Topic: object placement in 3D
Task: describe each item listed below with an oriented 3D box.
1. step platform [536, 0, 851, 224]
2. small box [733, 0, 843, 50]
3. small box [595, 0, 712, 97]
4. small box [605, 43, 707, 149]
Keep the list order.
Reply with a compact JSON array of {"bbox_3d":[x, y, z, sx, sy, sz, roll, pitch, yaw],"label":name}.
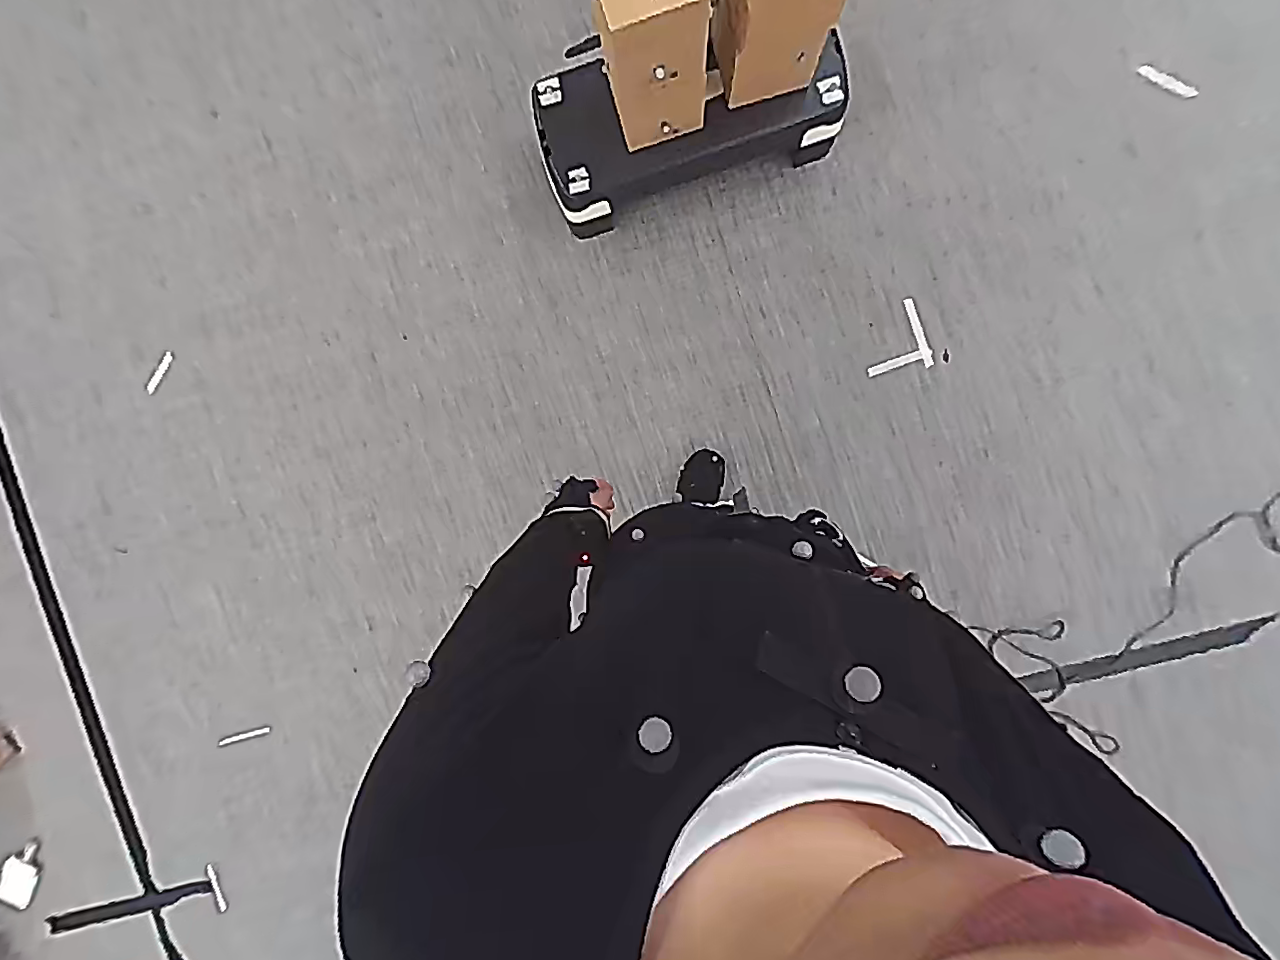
[{"bbox_3d":[0.114,-0.855,1.236,0.684,0.204,0.286,-17,91,5],"label":"step platform"},{"bbox_3d":[0.244,-0.863,0.890,0.179,0.176,0.168,-14,92,4],"label":"small box"},{"bbox_3d":[0.015,-0.801,0.907,0.168,0.176,0.179,-16,92,4],"label":"small box"},{"bbox_3d":[0.029,-0.806,1.070,0.168,0.176,0.179,-15,92,5],"label":"small box"}]
